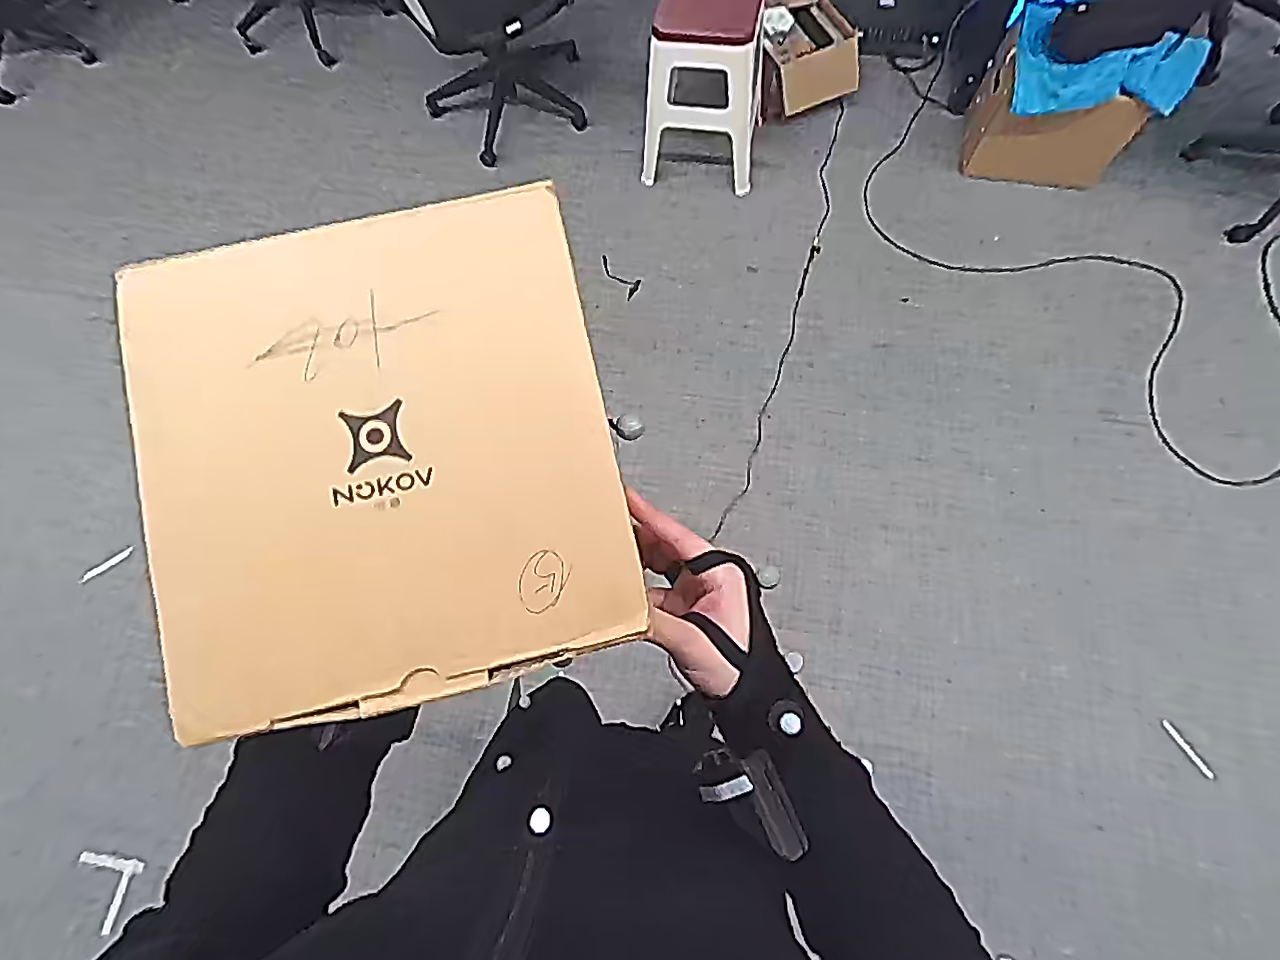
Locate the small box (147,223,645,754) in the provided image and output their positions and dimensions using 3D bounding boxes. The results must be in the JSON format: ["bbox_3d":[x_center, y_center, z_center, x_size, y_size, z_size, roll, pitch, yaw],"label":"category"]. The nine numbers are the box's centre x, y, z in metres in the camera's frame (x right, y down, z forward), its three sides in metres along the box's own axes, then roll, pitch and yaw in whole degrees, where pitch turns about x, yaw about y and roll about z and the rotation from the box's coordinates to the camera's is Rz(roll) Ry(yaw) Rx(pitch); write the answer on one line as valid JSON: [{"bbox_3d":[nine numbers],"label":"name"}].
[{"bbox_3d":[-0.095,0.007,0.285,0.168,0.176,0.179,-14,83,-3],"label":"small box"}]
